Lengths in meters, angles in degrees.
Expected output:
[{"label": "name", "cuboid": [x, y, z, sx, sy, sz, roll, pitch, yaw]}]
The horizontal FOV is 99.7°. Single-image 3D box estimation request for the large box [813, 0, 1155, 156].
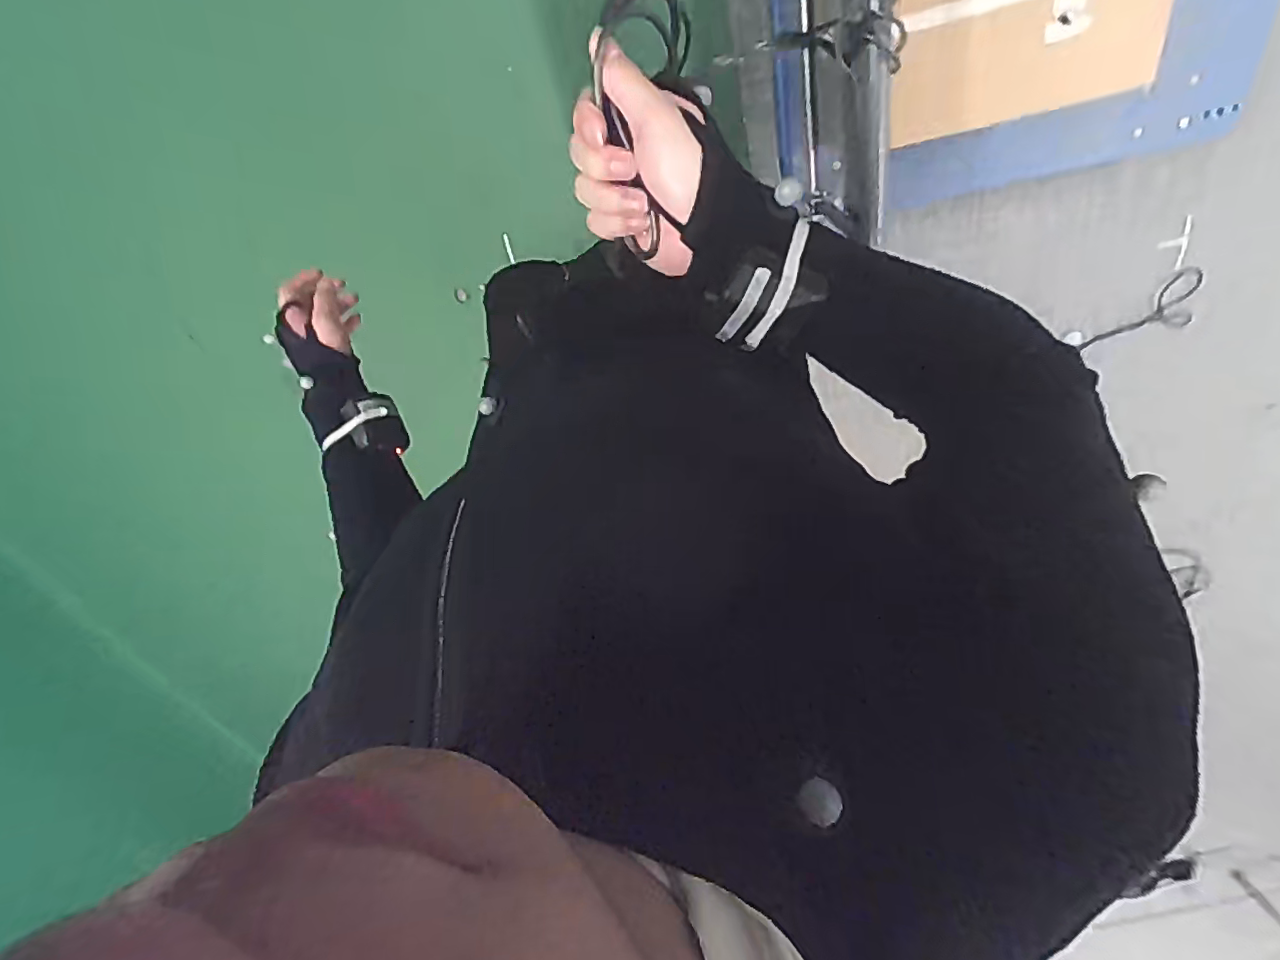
[{"label": "large box", "cuboid": [0.527, -0.764, 0.893, 0.408, 0.320, 0.320, -9, 122, 9]}]
